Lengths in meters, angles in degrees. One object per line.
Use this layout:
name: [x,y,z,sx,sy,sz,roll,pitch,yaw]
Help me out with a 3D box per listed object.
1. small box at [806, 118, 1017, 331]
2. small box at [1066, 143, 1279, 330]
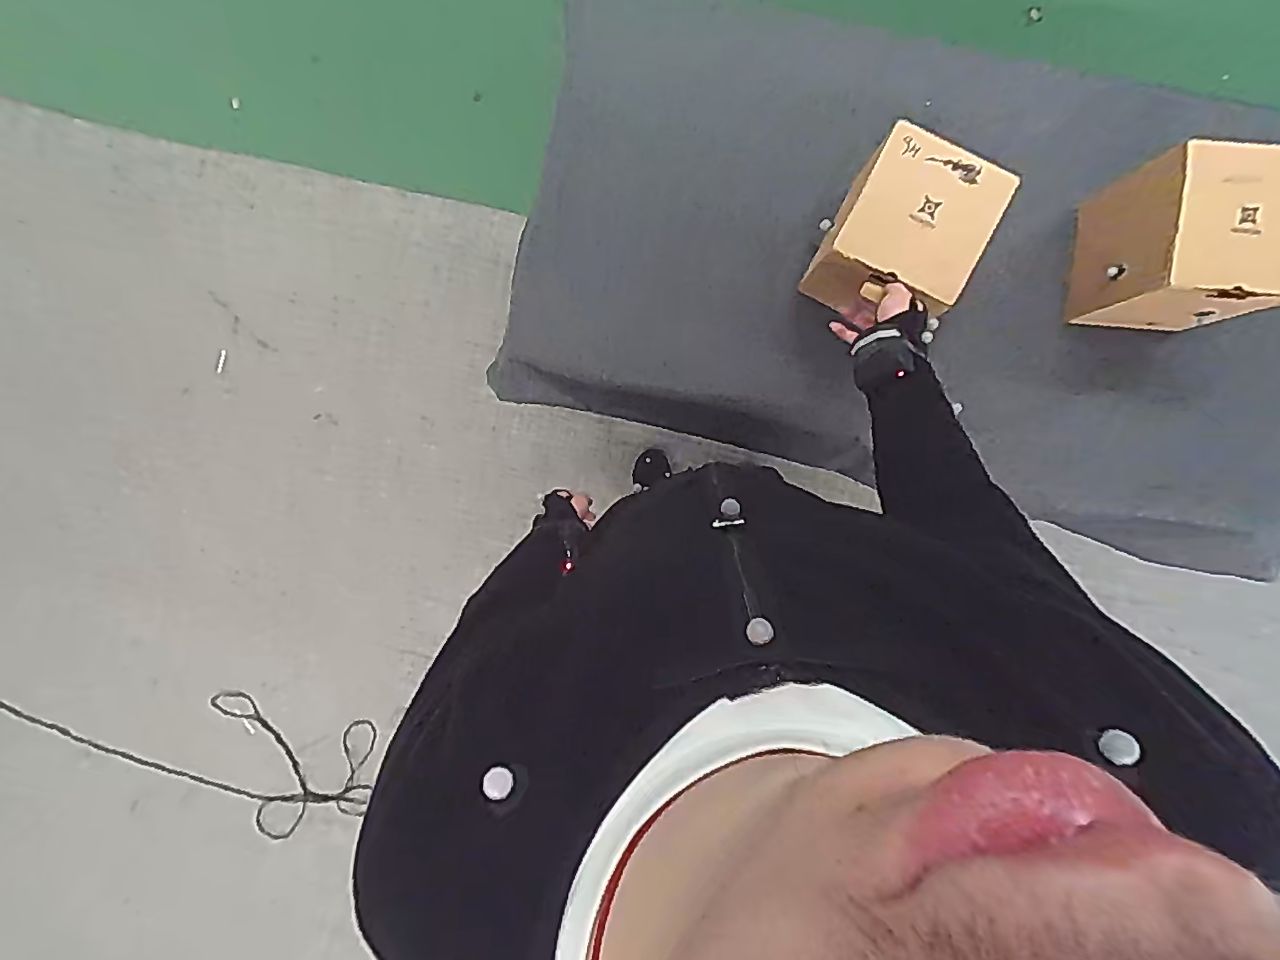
small box: [0.346,-0.326,0.733,0.168,0.176,0.179,28,93,0]
small box: [0.717,-0.309,0.722,0.168,0.176,0.179,5,91,1]
